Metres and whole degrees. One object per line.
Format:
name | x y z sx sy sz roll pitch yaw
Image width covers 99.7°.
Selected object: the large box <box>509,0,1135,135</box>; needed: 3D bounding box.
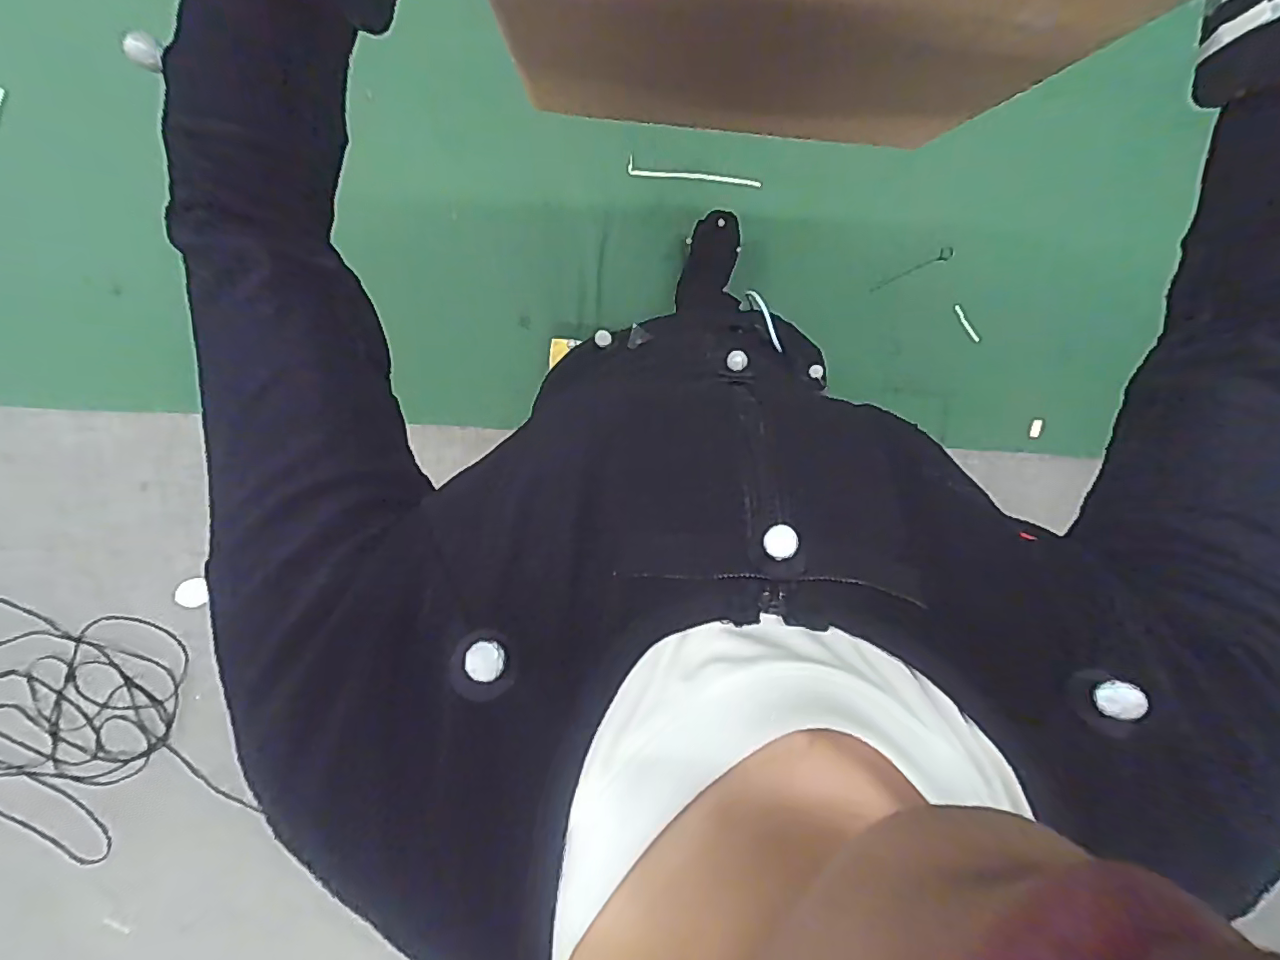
large box | 0.111 -0.470 0.373 0.408 0.320 0.320 2 108 -4
